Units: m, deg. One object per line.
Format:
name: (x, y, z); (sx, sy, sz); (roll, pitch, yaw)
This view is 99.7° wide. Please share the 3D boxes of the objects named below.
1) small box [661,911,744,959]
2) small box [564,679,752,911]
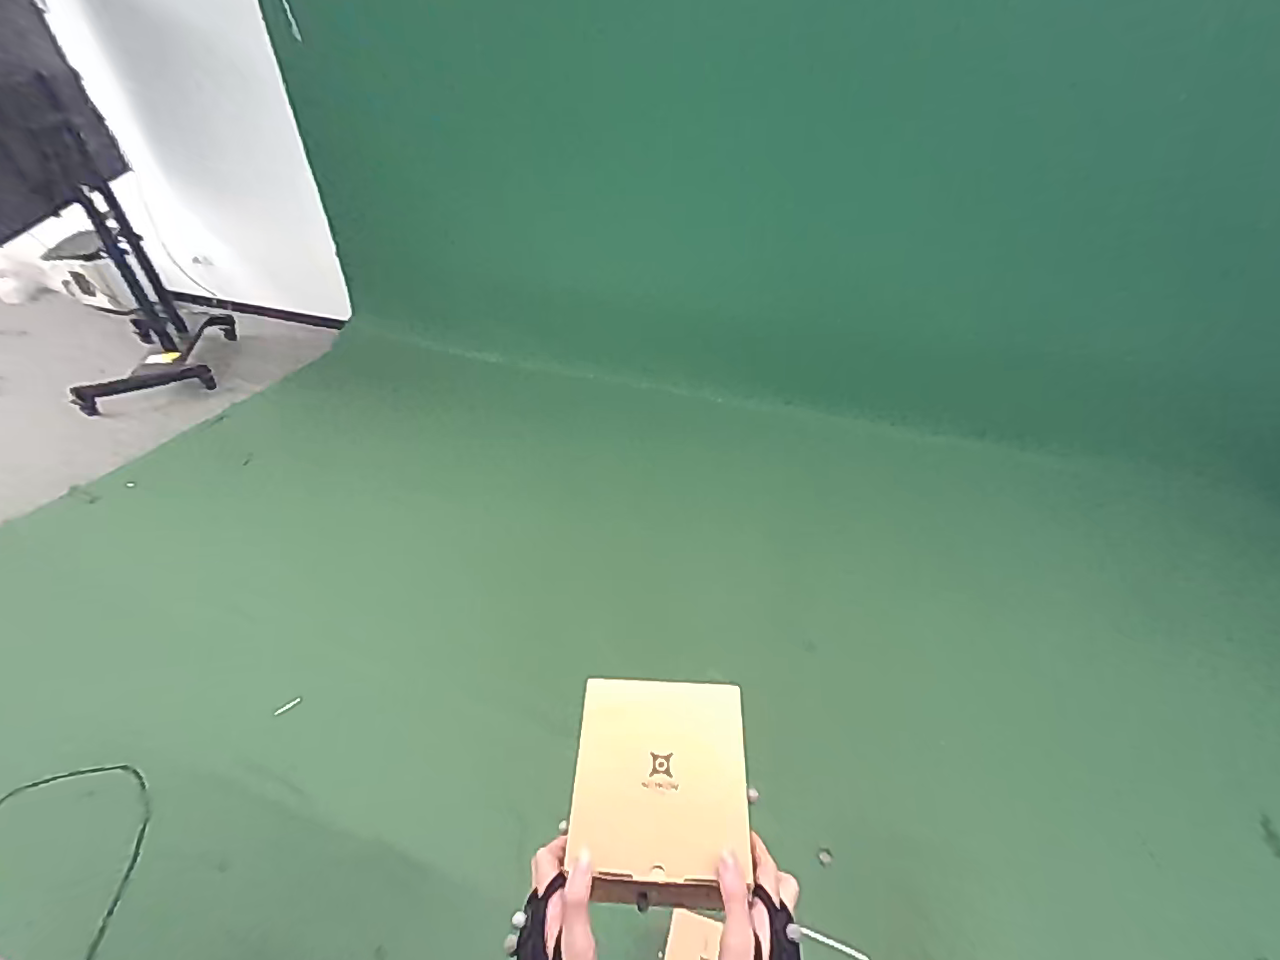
small box: (0.123, 1.092, 1.175); (0.168, 0.176, 0.179); (12, 39, 12)
small box: (0.019, 0.335, 0.576); (0.168, 0.176, 0.179); (3, 48, 2)
